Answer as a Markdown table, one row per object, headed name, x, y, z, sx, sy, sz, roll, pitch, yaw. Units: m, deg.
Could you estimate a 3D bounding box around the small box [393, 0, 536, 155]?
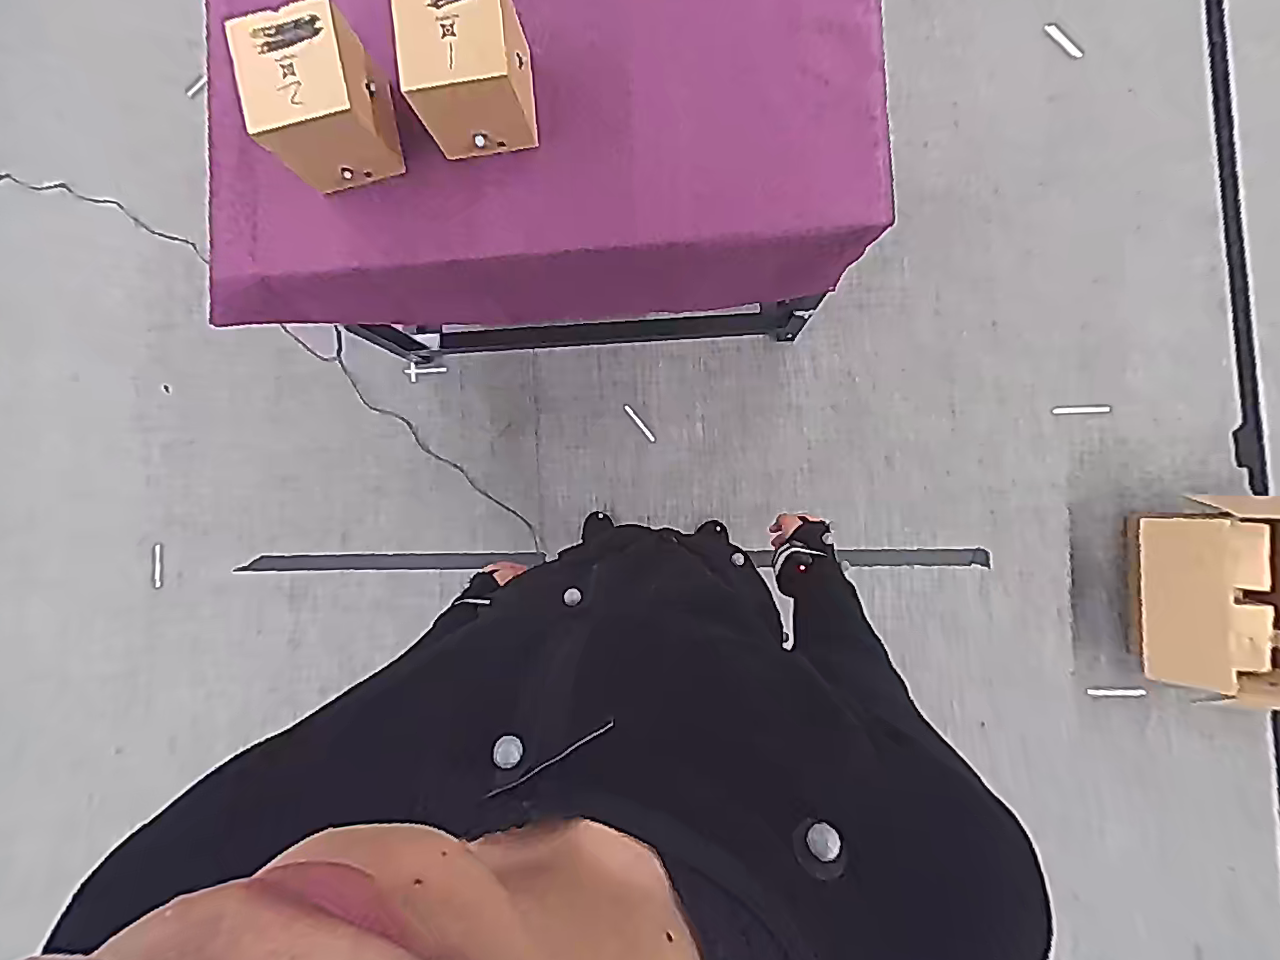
| name | x | y | z | sx | sy | sz | roll | pitch | yaw |
| --- | --- | --- | --- | --- | --- | --- | --- | --- | --- |
| small box | -0.273 | -0.664 | 0.868 | 0.168 | 0.176 | 0.179 | -6 | 89 | 4 |
